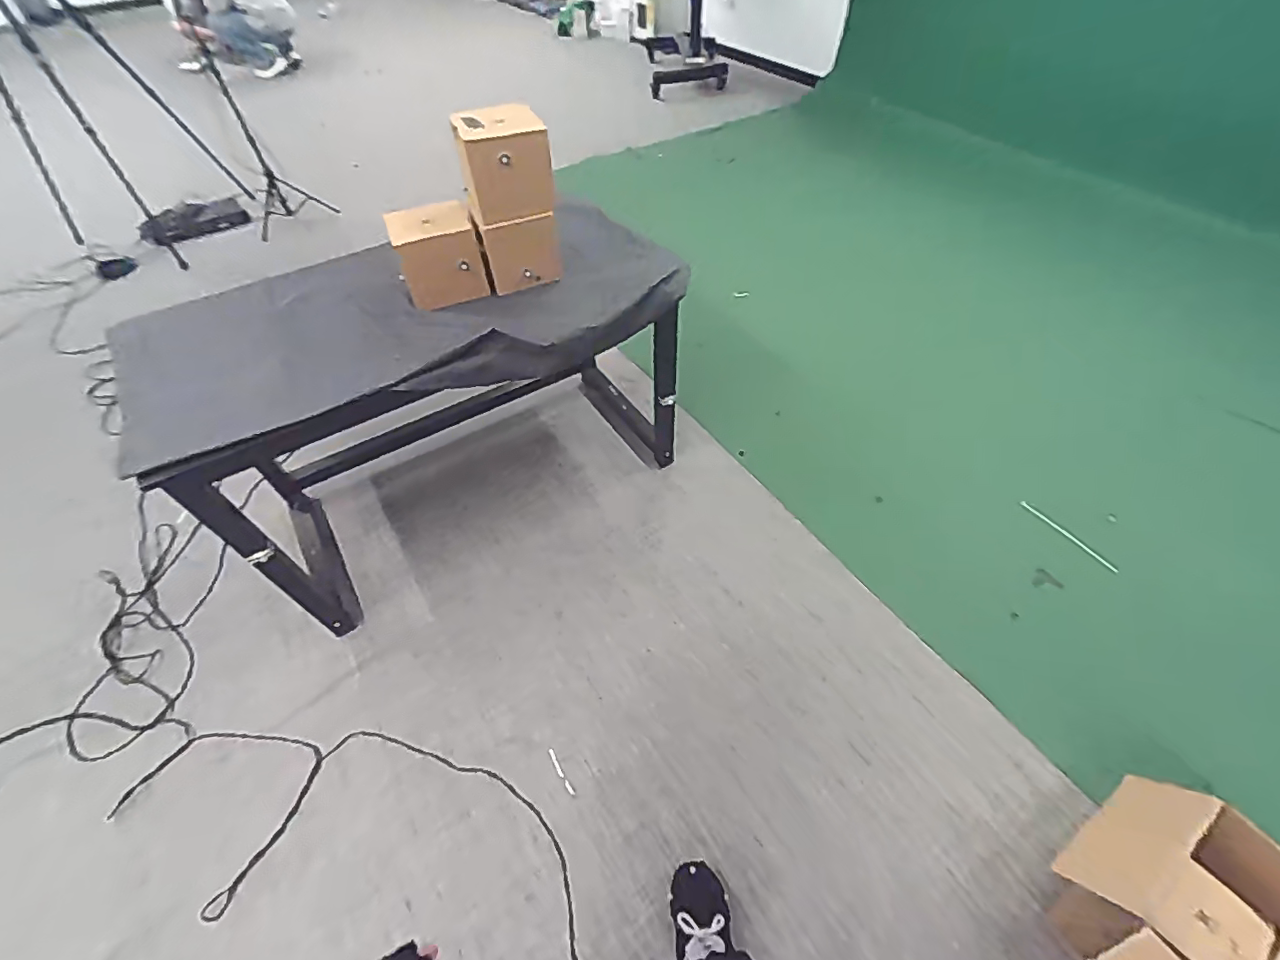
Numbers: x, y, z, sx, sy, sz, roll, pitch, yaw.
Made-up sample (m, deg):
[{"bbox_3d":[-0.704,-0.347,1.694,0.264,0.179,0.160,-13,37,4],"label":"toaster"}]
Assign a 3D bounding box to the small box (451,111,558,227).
[{"bbox_3d":[-0.296,-0.686,1.198,0.179,0.176,0.168,-19,54,-14],"label":"small box"}]
